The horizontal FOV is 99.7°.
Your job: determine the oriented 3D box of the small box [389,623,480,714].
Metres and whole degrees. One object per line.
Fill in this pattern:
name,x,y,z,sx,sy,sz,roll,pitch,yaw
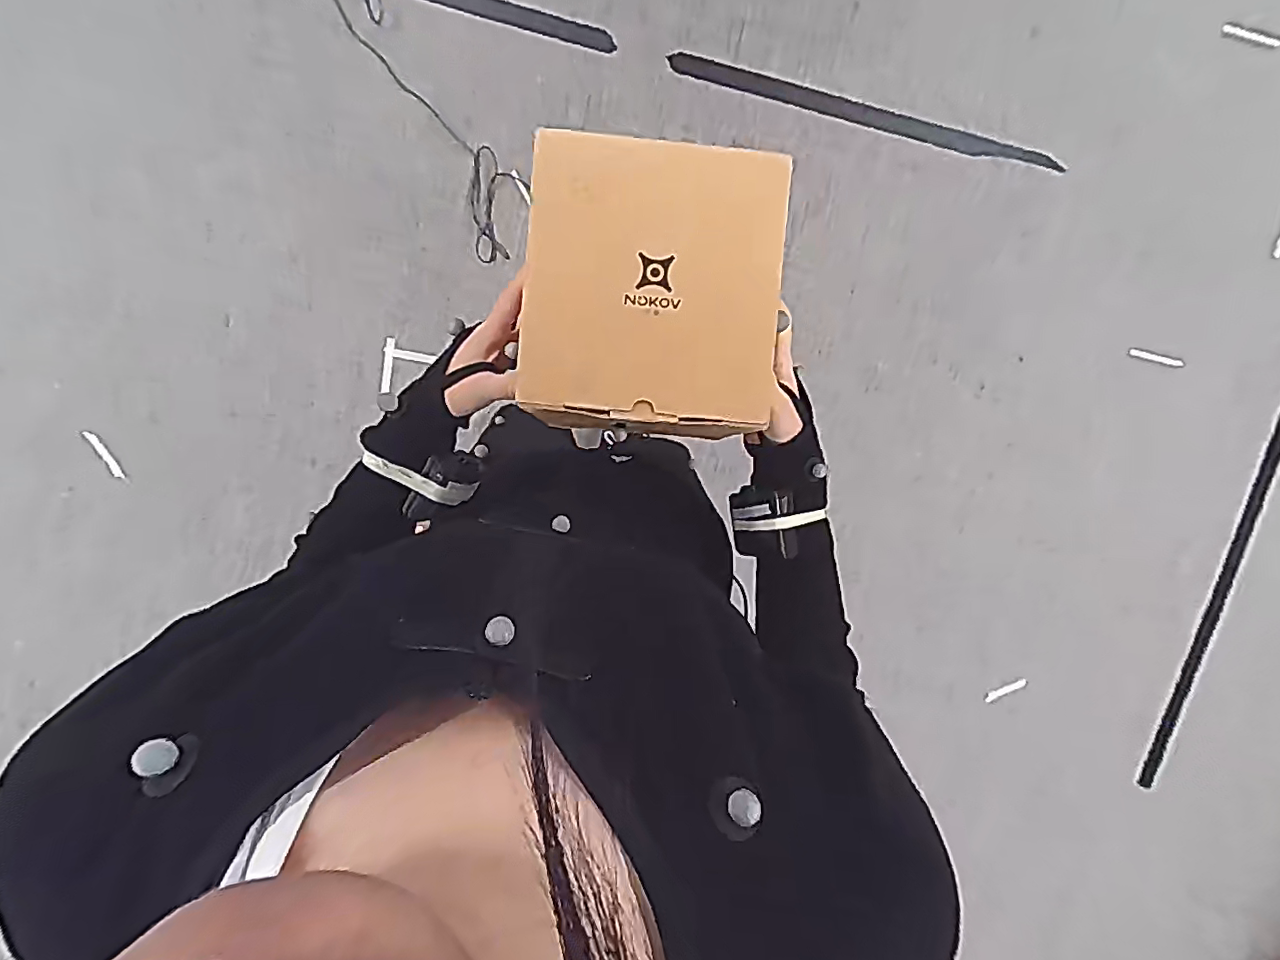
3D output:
small box,-0.546,0.498,1.449,0.179,0.176,0.168,7,99,-2

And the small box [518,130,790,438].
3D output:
small box,0.005,-0.130,0.425,0.168,0.176,0.179,4,92,-3
